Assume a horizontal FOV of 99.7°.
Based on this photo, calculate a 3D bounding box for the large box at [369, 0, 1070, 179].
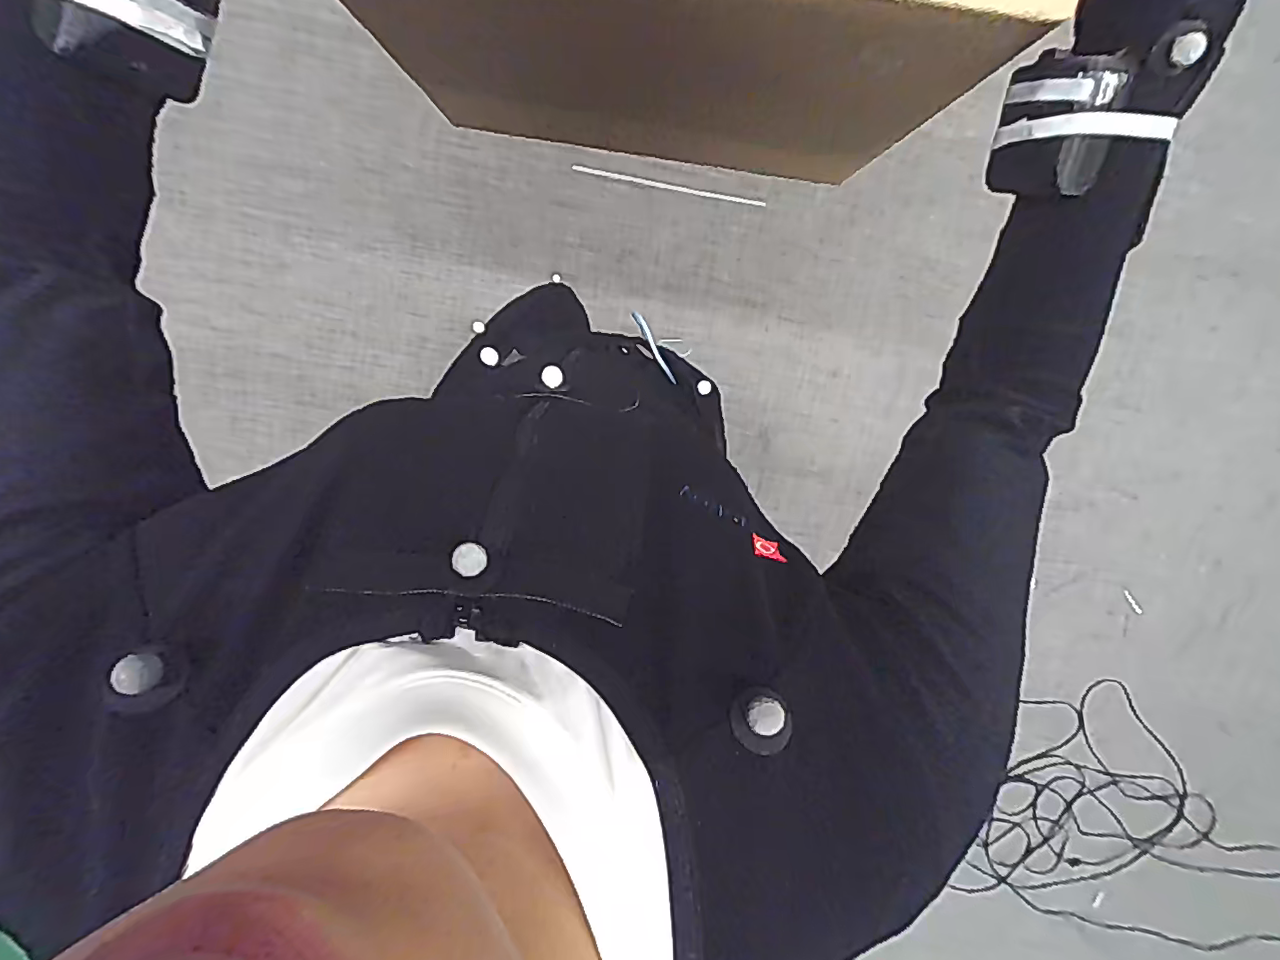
[{"bbox_3d":[0.037,-0.441,0.375,0.408,0.320,0.320,7,106,-3],"label":"large box"}]
